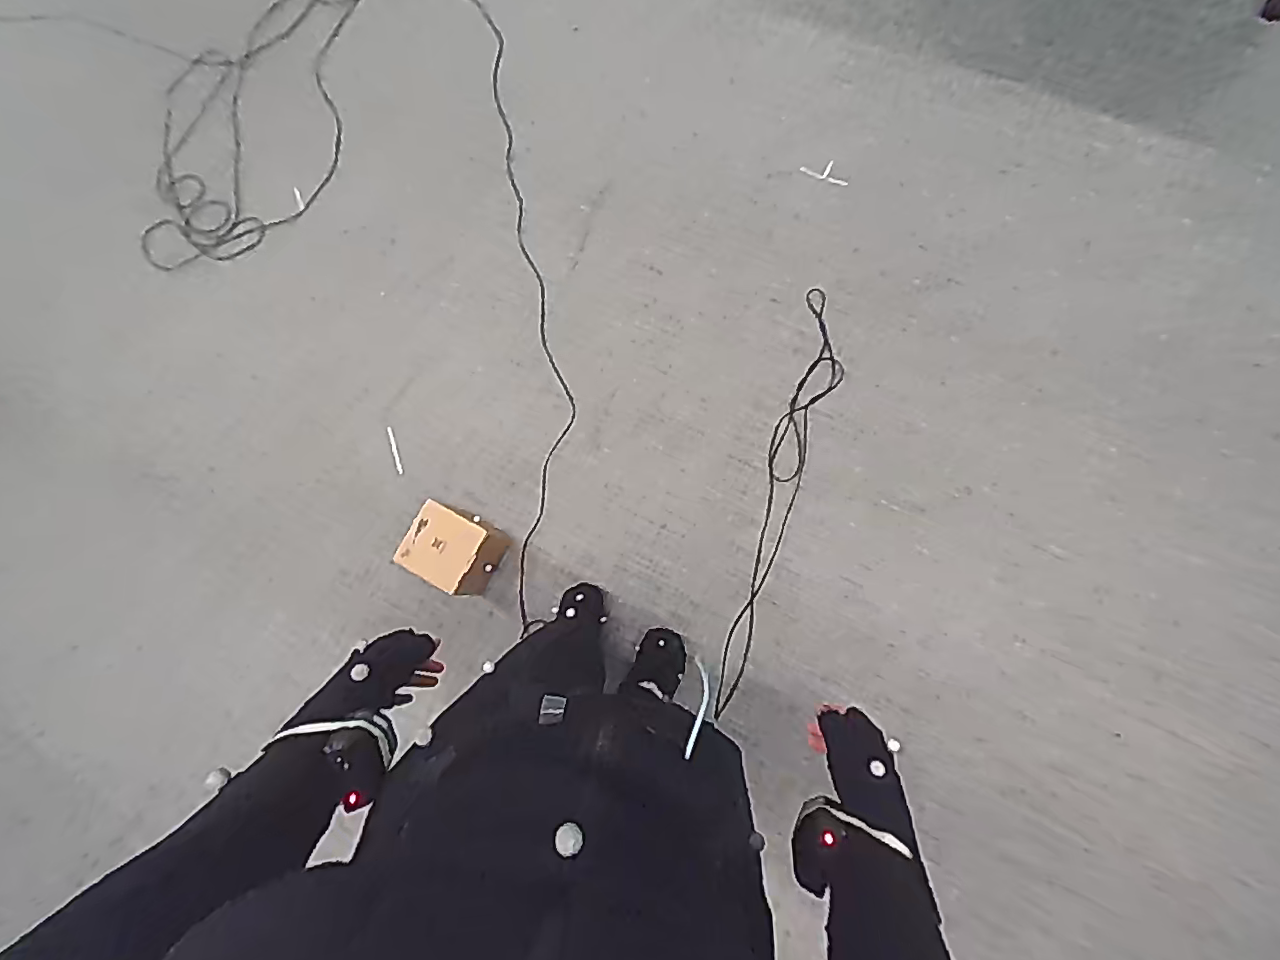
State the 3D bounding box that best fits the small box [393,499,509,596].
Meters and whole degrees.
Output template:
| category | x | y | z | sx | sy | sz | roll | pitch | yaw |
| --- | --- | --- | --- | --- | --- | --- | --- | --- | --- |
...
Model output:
| category | x | y | z | sx | sy | sz | roll | pitch | yaw |
| --- | --- | --- | --- | --- | --- | --- | --- | --- | --- |
| small box | -0.449 | 0.166 | 1.318 | 0.179 | 0.176 | 0.168 | 28 | 83 | 10 |
